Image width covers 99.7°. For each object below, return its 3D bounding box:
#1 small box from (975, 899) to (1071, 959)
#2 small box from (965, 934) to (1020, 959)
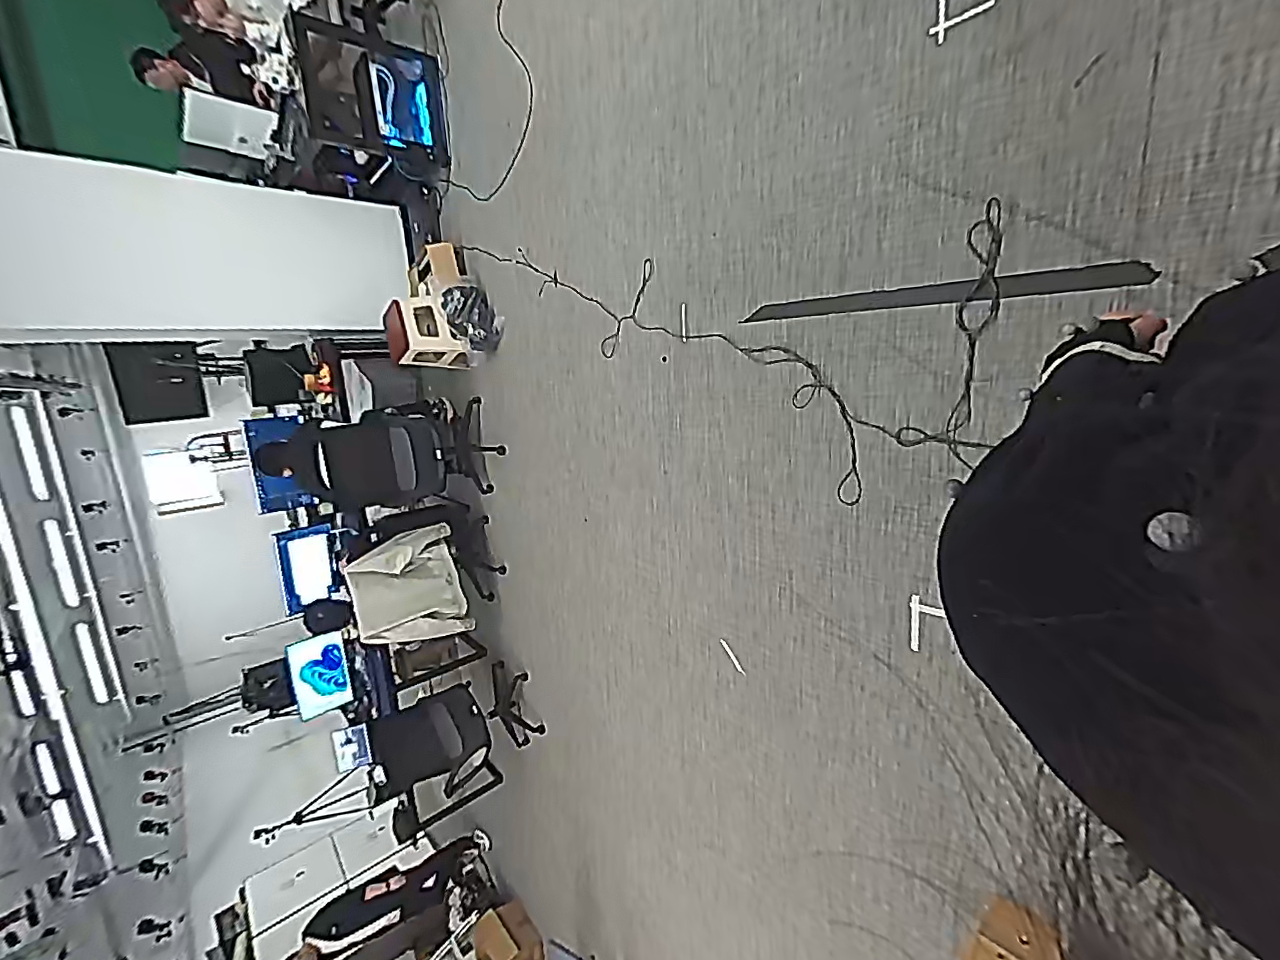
[{"bbox_3d":[1.015,1.277,1.445,0.179,0.176,0.168,11,109,47],"label":"small box"},{"bbox_3d":[0.895,1.296,1.336,0.168,0.176,0.179,9,108,49],"label":"small box"}]
